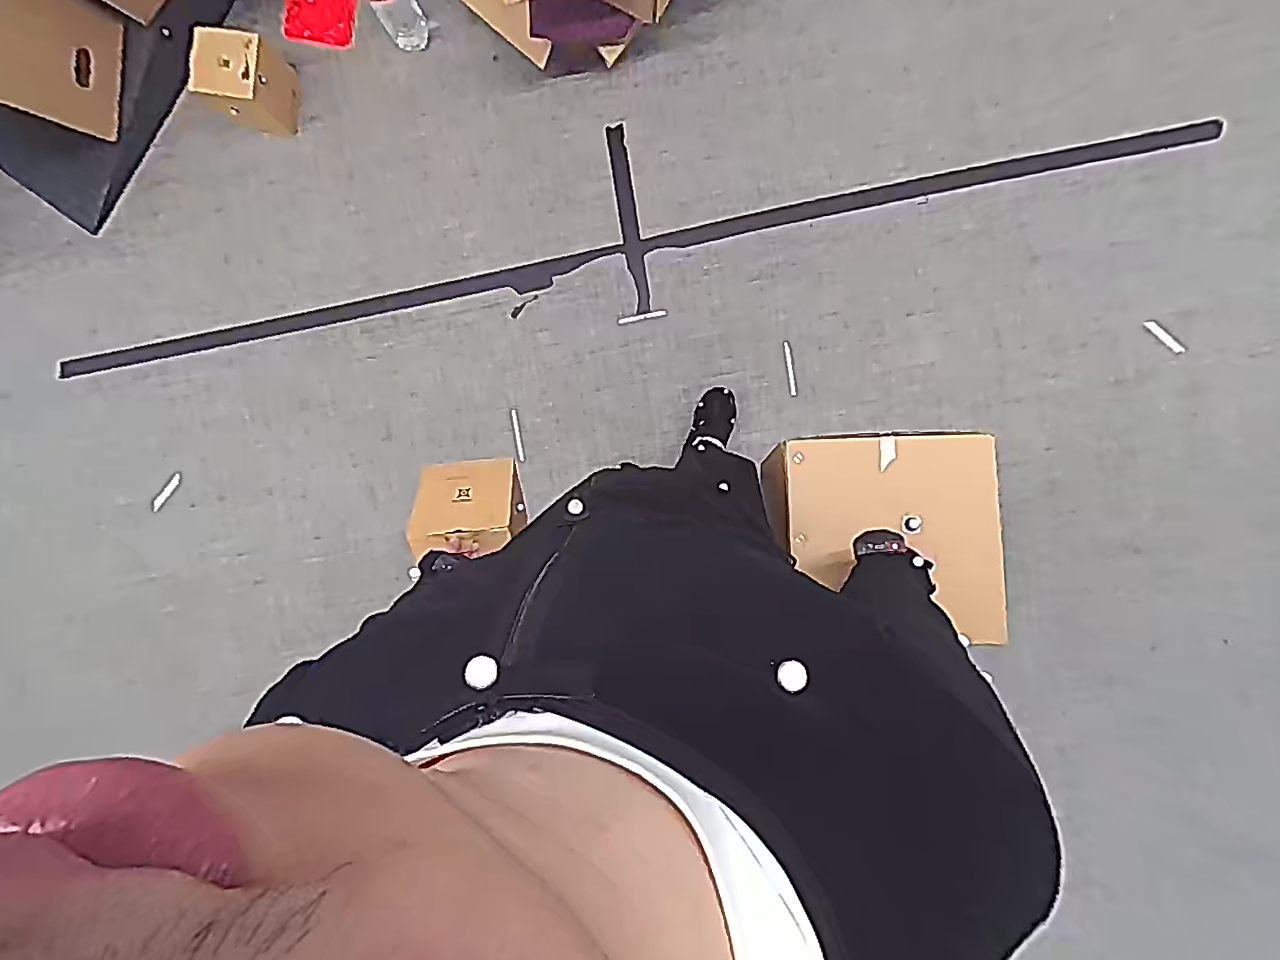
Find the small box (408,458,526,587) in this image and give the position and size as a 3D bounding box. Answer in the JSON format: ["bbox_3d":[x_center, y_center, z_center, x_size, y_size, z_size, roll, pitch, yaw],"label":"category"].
[{"bbox_3d":[-0.306,0.084,0.997,0.168,0.179,0.176,-5,134,-5],"label":"small box"}]
